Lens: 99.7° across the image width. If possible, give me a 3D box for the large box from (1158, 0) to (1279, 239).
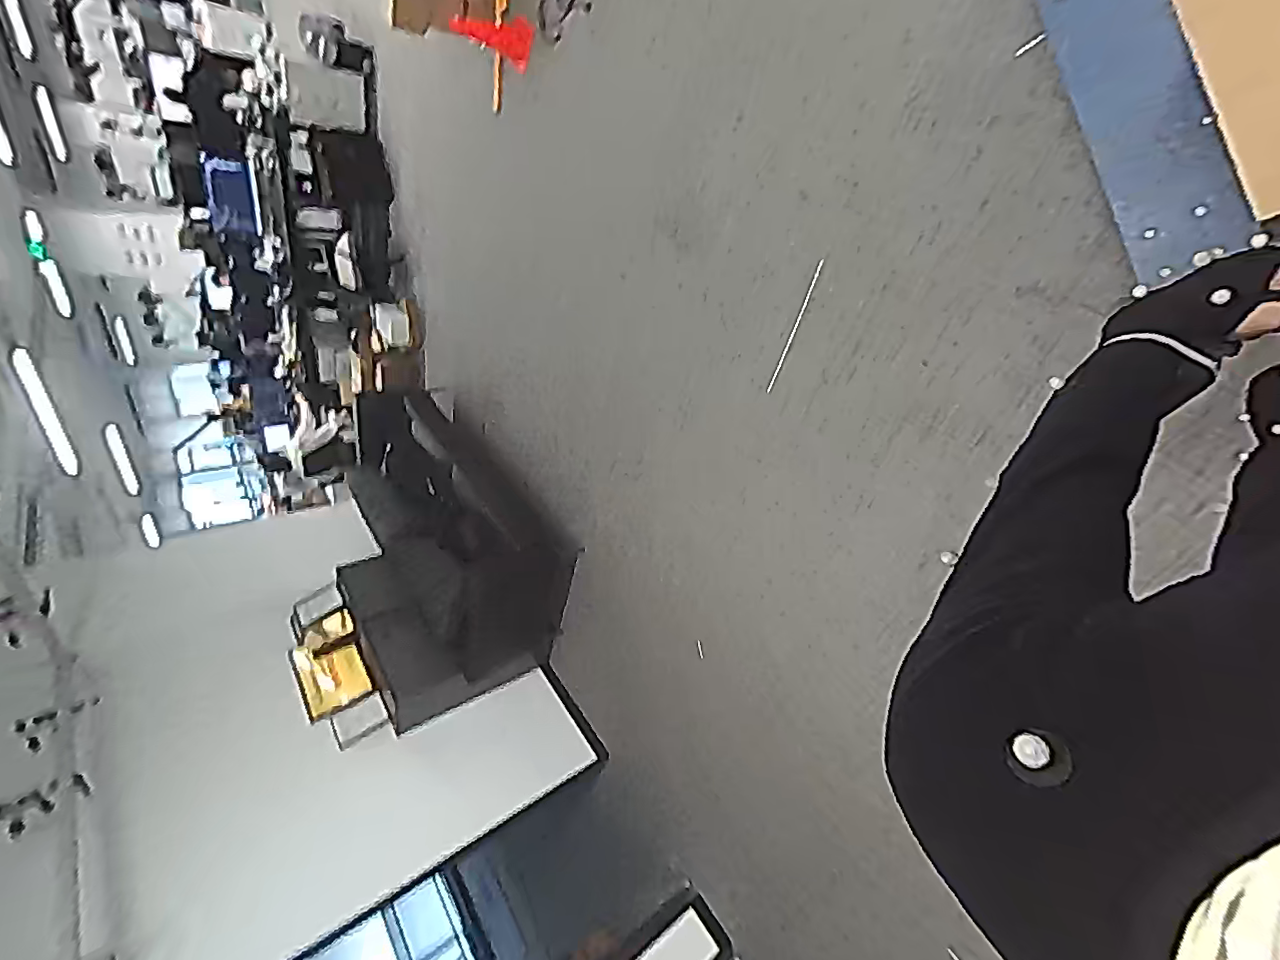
[{"bbox_3d":[1.002,-0.607,0.739,0.320,0.320,0.408,-22,84,51],"label":"large box"}]
